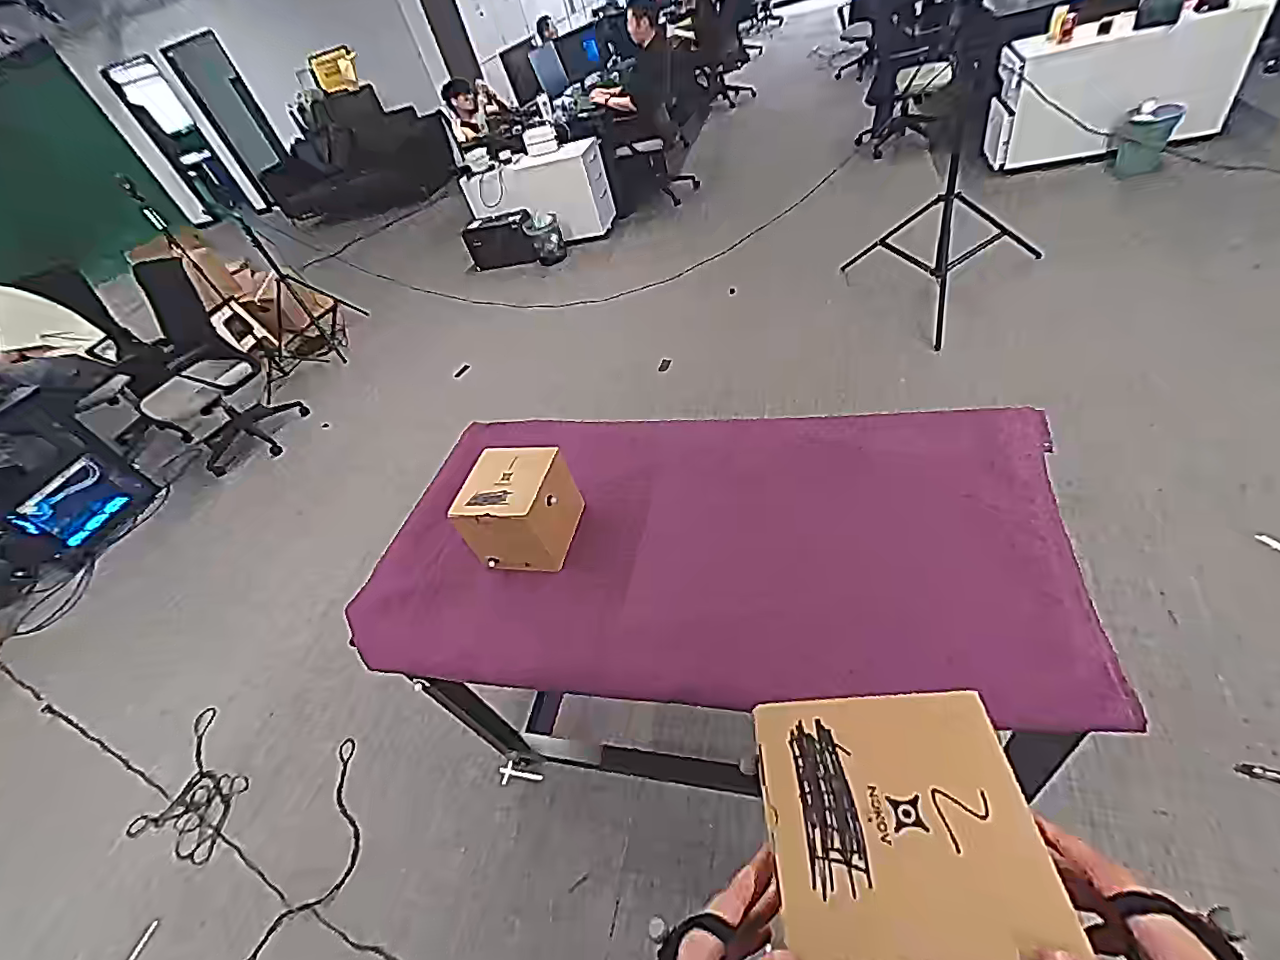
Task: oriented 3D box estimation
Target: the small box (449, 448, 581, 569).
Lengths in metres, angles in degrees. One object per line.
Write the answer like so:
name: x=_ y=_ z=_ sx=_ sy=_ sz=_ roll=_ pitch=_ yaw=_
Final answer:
small box: x=-0.229 y=0.057 z=1.052 sx=0.168 sy=0.176 sz=0.179 roll=0 pitch=46 yaw=19
